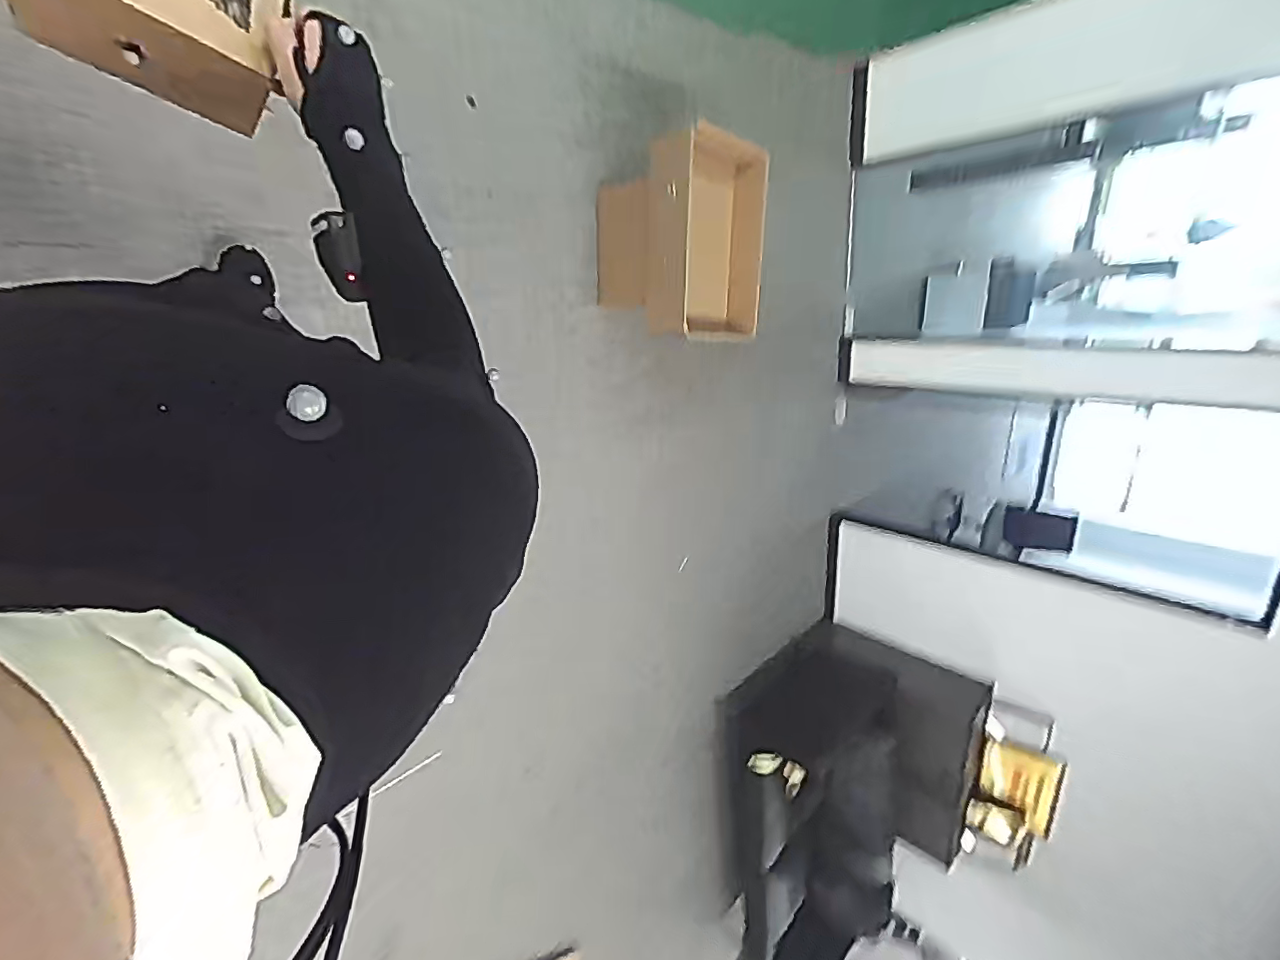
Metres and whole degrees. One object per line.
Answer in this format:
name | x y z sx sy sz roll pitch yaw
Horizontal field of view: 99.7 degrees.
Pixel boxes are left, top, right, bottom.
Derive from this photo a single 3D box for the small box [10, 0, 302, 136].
small box | -0.415 -0.441 0.478 0.179 0.176 0.168 11 92 -41
